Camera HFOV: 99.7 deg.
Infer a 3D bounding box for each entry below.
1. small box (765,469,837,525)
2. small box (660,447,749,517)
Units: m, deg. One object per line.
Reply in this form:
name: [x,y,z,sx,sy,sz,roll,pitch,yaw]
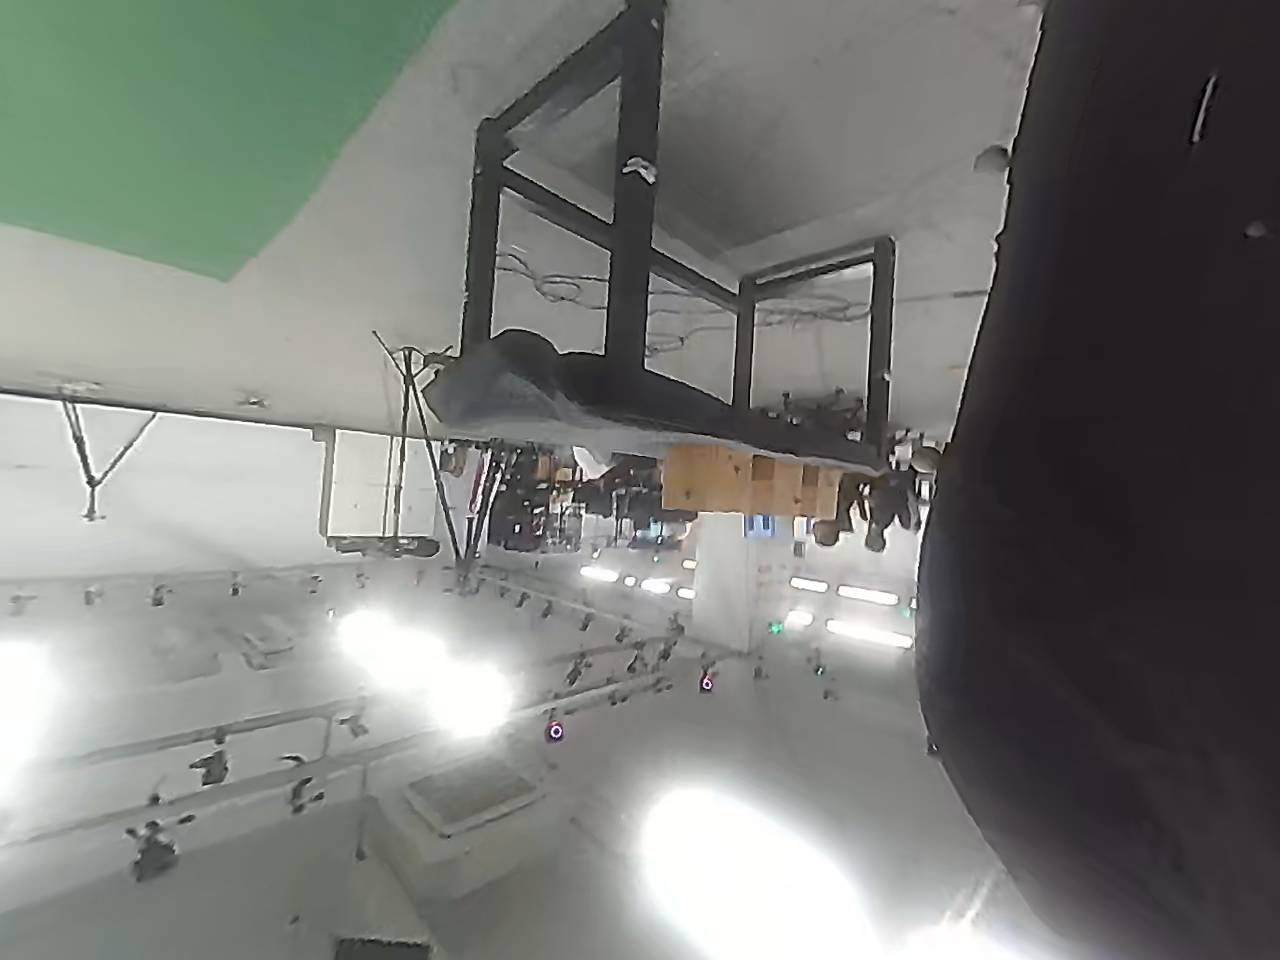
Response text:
small box: [0.540,0.054,1.804,0.179,0.176,0.168,4,178,42]
small box: [0.177,0.006,1.451,0.168,0.176,0.179,7,176,-44]
